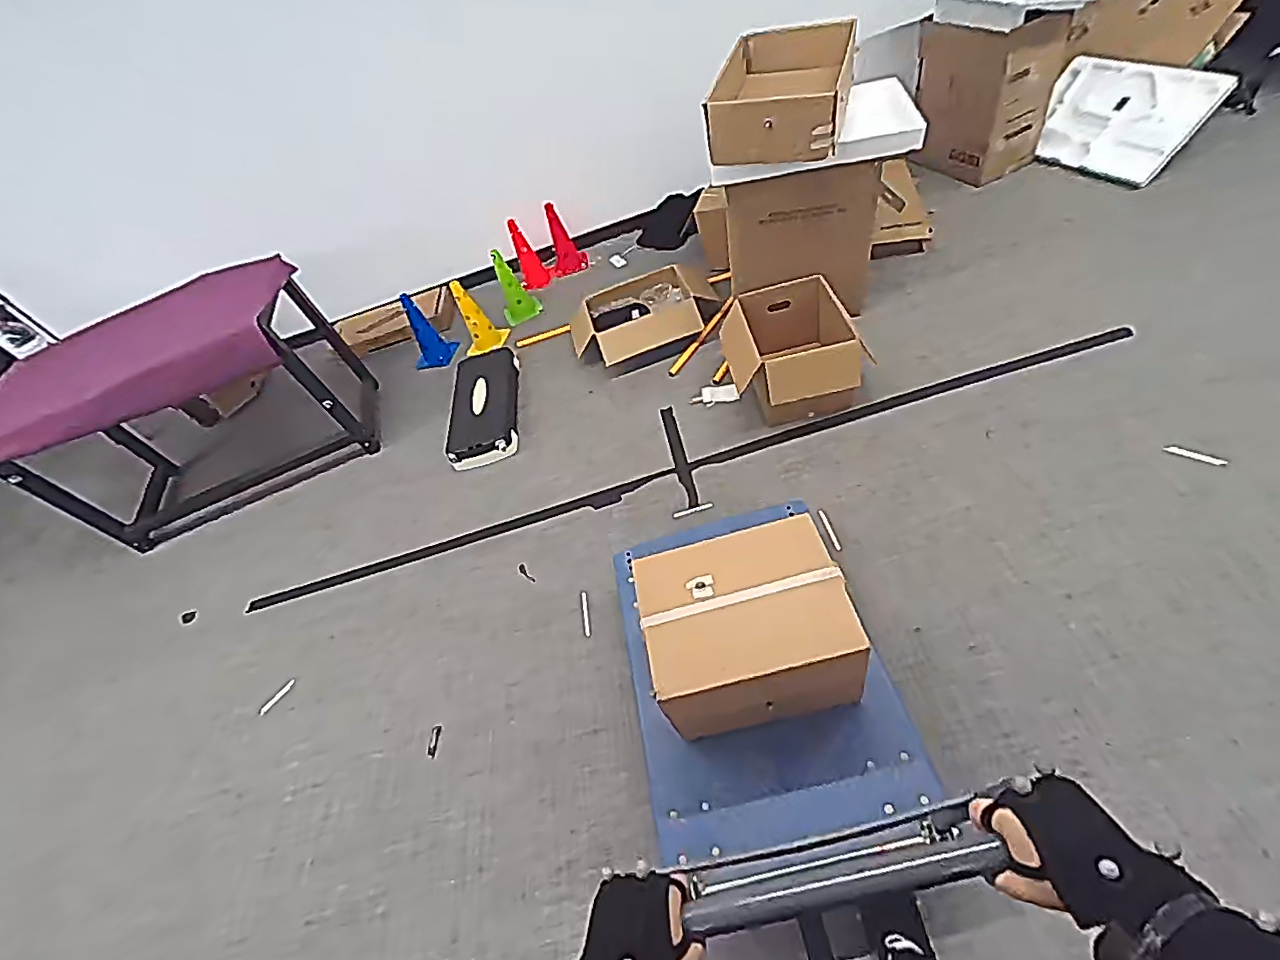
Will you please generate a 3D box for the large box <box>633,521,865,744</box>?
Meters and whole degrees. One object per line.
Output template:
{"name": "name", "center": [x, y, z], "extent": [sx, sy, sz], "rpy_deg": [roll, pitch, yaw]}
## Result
{"name": "large box", "center": [0.237, 0.349, 1.205], "extent": [0.408, 0.320, 0.320], "rpy_deg": [-17, 48, 5]}
